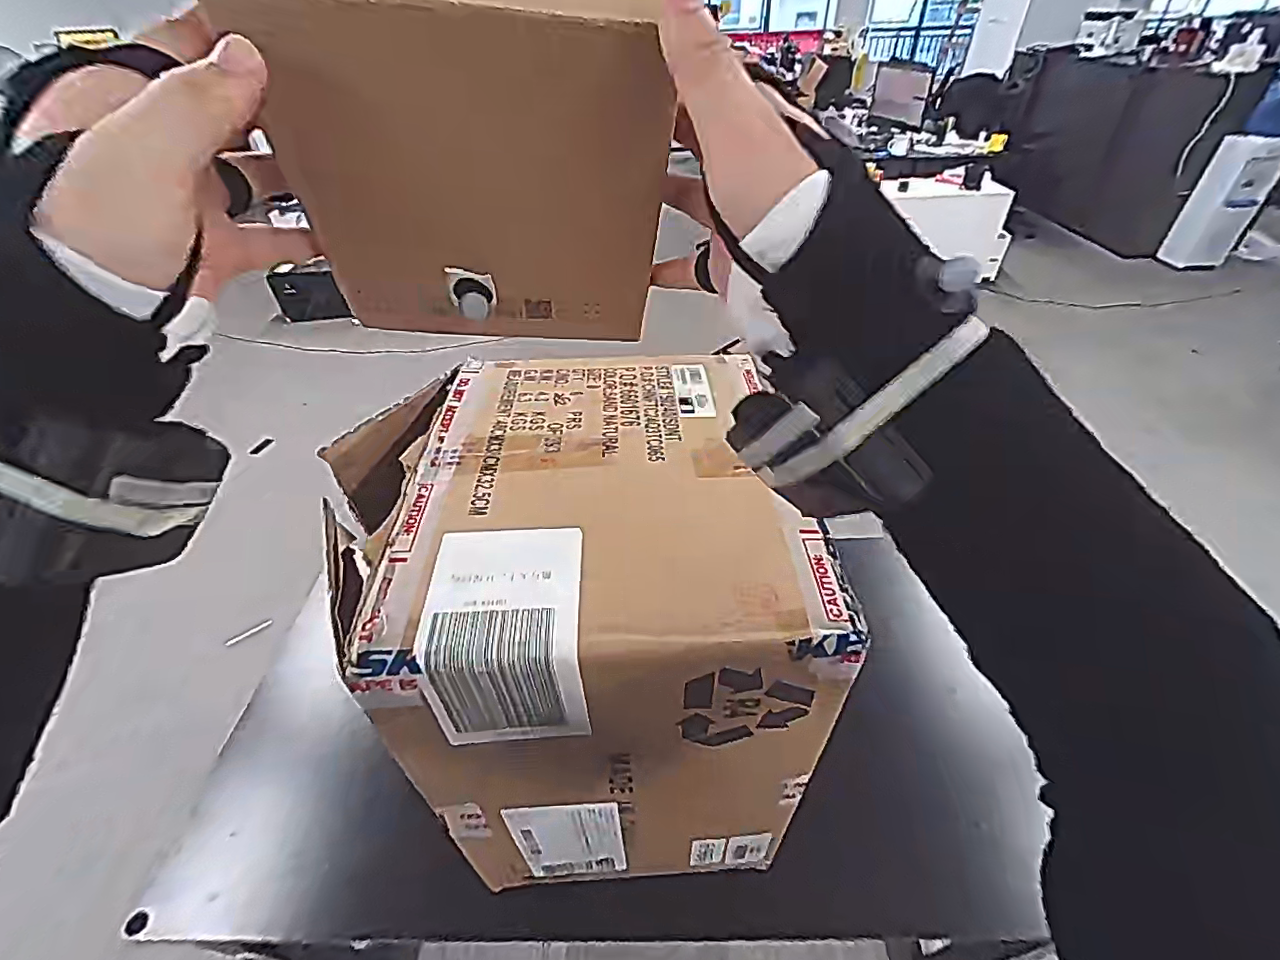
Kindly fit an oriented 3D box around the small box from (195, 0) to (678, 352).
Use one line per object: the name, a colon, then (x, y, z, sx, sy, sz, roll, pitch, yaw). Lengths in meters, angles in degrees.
small box: (-0.078, -0.193, 0.289, 0.168, 0.176, 0.179, 1, 65, -6)
